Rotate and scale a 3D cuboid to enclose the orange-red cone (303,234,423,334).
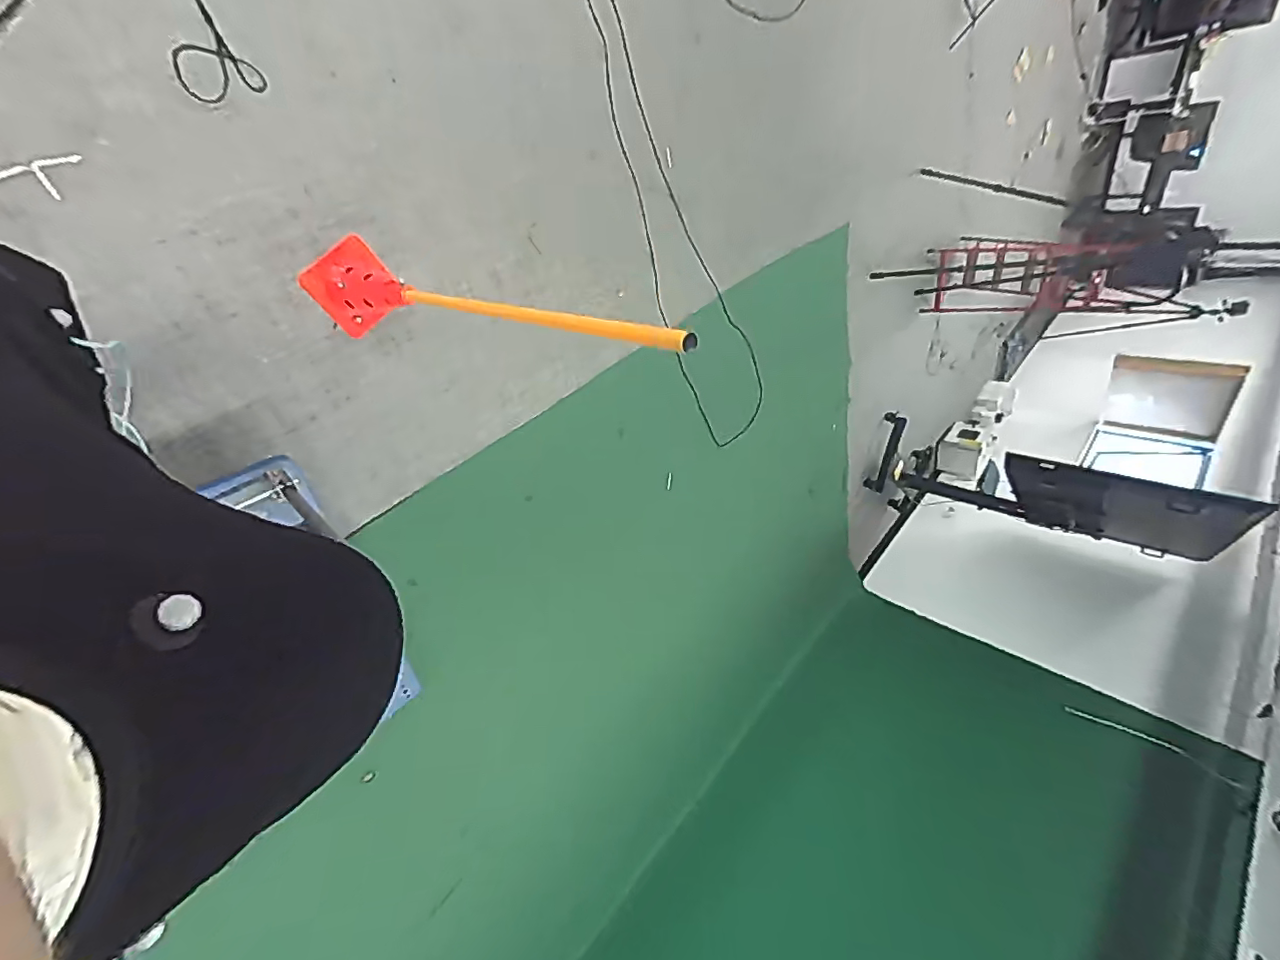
[{"bbox_3d":[-0.627,-0.468,1.320,0.199,0.360,0.198,-52,137,-20],"label":"orange-red cone"}]
